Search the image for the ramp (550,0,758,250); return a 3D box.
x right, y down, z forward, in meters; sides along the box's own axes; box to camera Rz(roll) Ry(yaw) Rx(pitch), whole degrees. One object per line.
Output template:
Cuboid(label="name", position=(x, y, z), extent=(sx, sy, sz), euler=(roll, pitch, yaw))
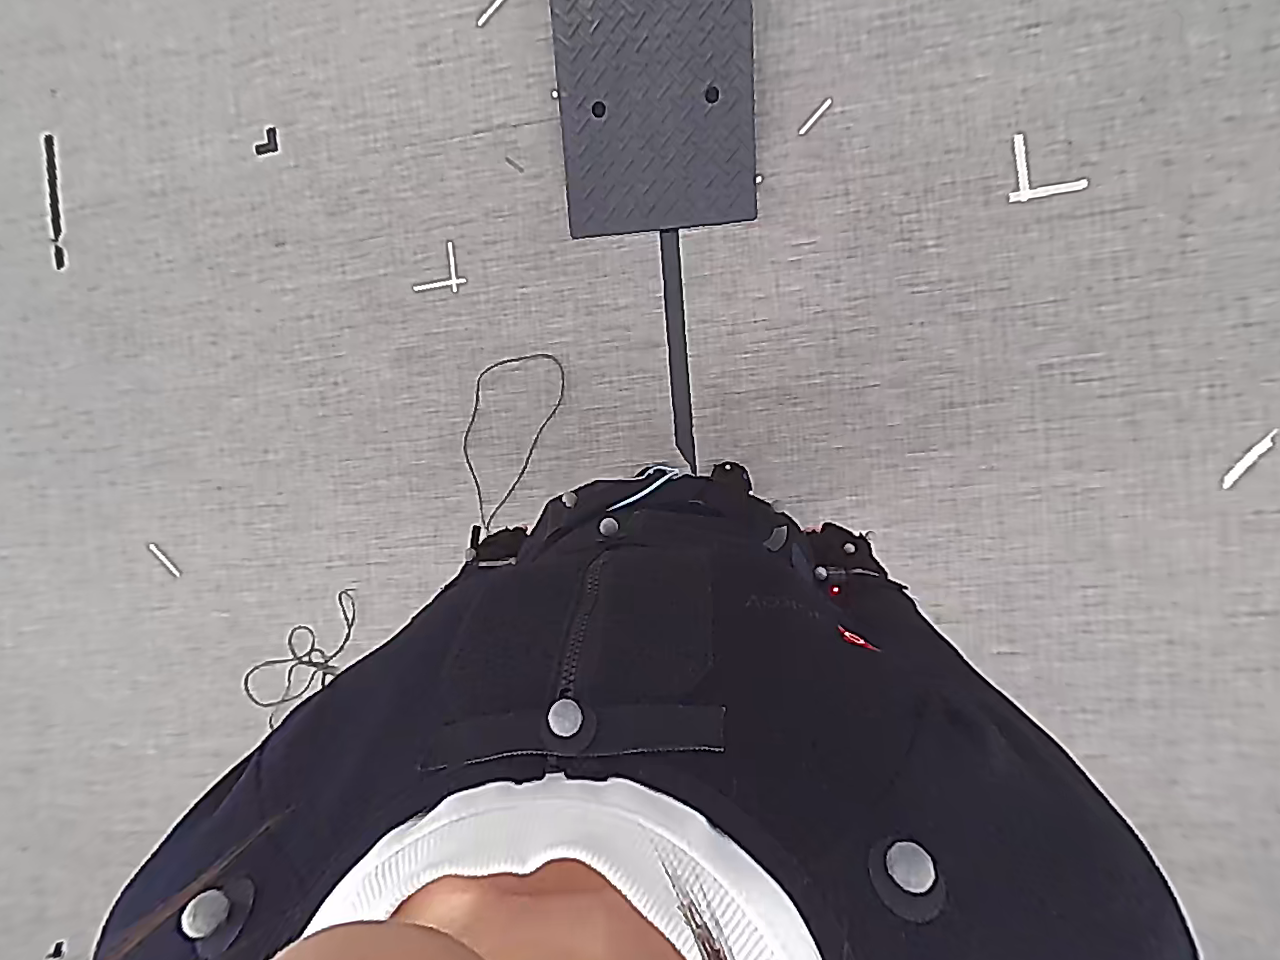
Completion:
Cuboid(label="ramp", position=(0.024, -1.129, 1.346), extent=(0.509, 0.206, 0.991), euler=(-6, 91, 7))
